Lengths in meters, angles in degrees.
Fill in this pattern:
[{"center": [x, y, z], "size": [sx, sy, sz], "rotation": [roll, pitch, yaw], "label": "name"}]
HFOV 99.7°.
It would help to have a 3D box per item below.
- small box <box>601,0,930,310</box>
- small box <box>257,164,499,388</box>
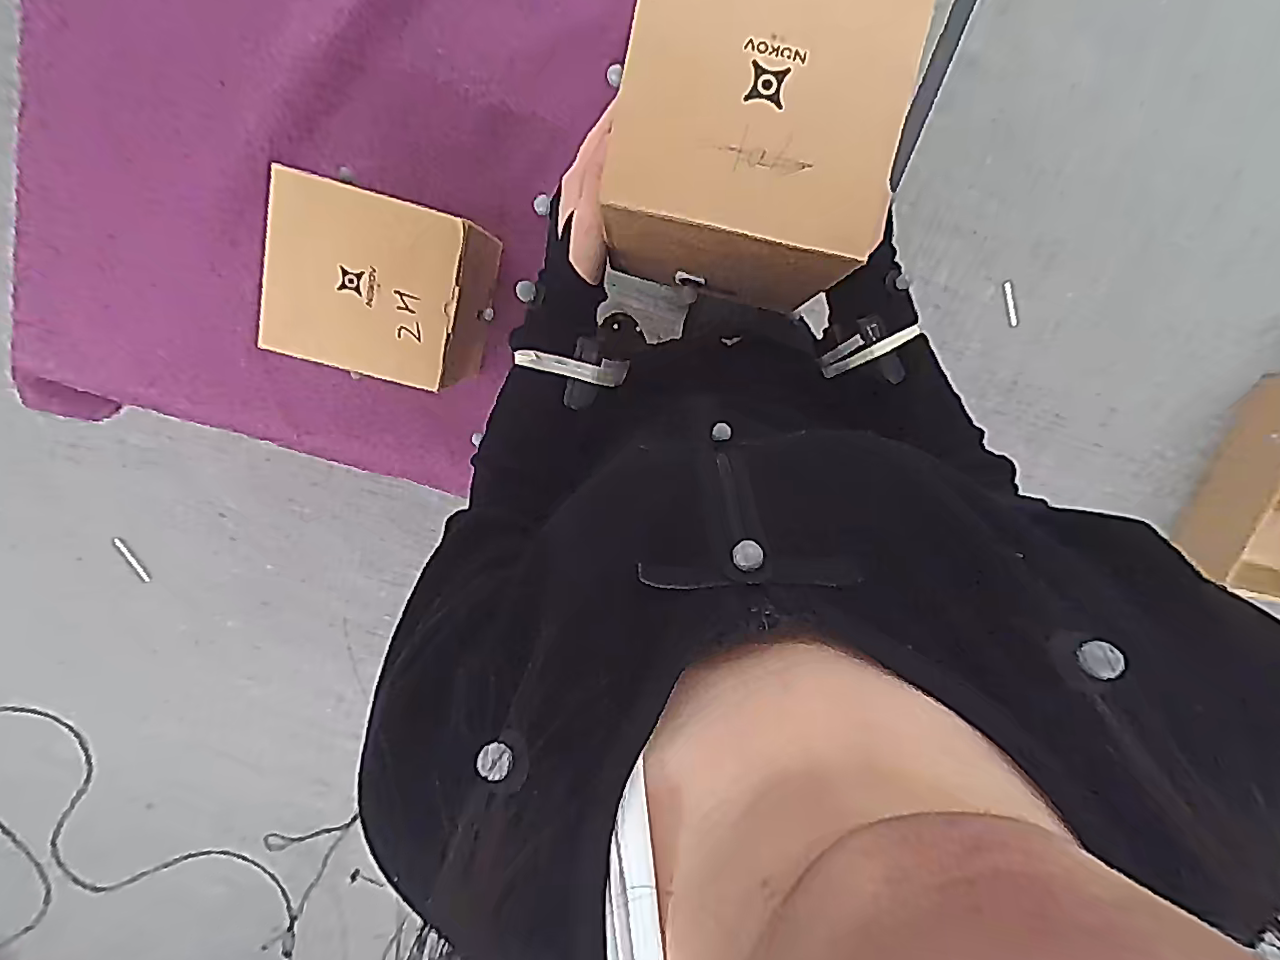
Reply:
[{"center": [0.073, -0.241, 0.394], "size": [0.168, 0.176, 0.179], "rotation": [12, 97, -1], "label": "small box"}, {"center": [-0.269, -0.208, 0.588], "size": [0.179, 0.176, 0.168], "rotation": [14, 106, -8], "label": "small box"}]
